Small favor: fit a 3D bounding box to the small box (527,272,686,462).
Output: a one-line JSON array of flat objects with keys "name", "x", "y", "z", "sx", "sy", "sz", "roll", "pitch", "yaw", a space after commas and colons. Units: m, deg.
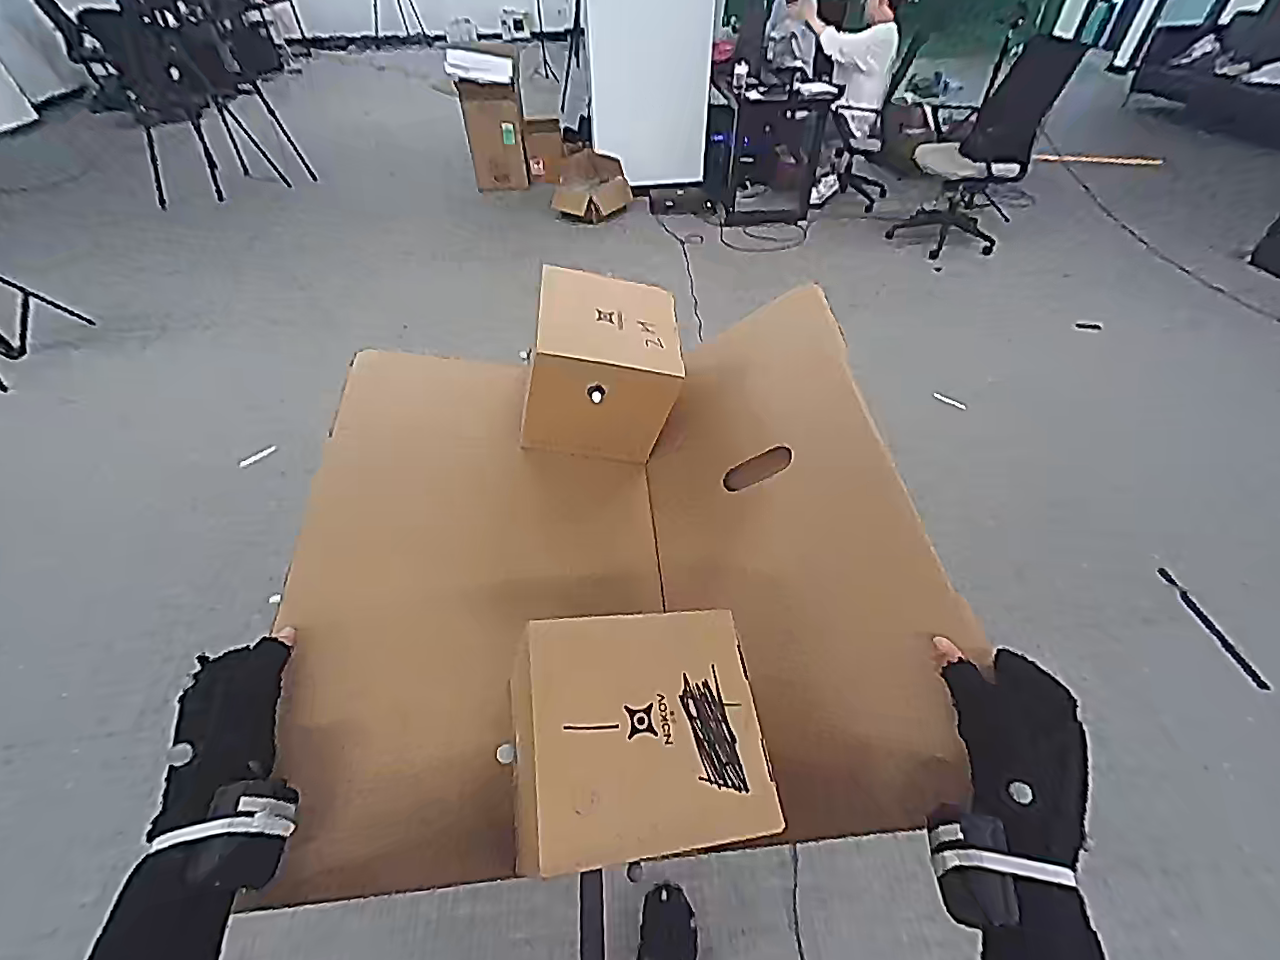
[{"name": "small box", "x": -0.052, "y": -0.142, "z": 0.722, "sx": 0.179, "sy": 0.176, "sz": 0.168, "roll": 8, "pitch": 53, "yaw": -14}]
